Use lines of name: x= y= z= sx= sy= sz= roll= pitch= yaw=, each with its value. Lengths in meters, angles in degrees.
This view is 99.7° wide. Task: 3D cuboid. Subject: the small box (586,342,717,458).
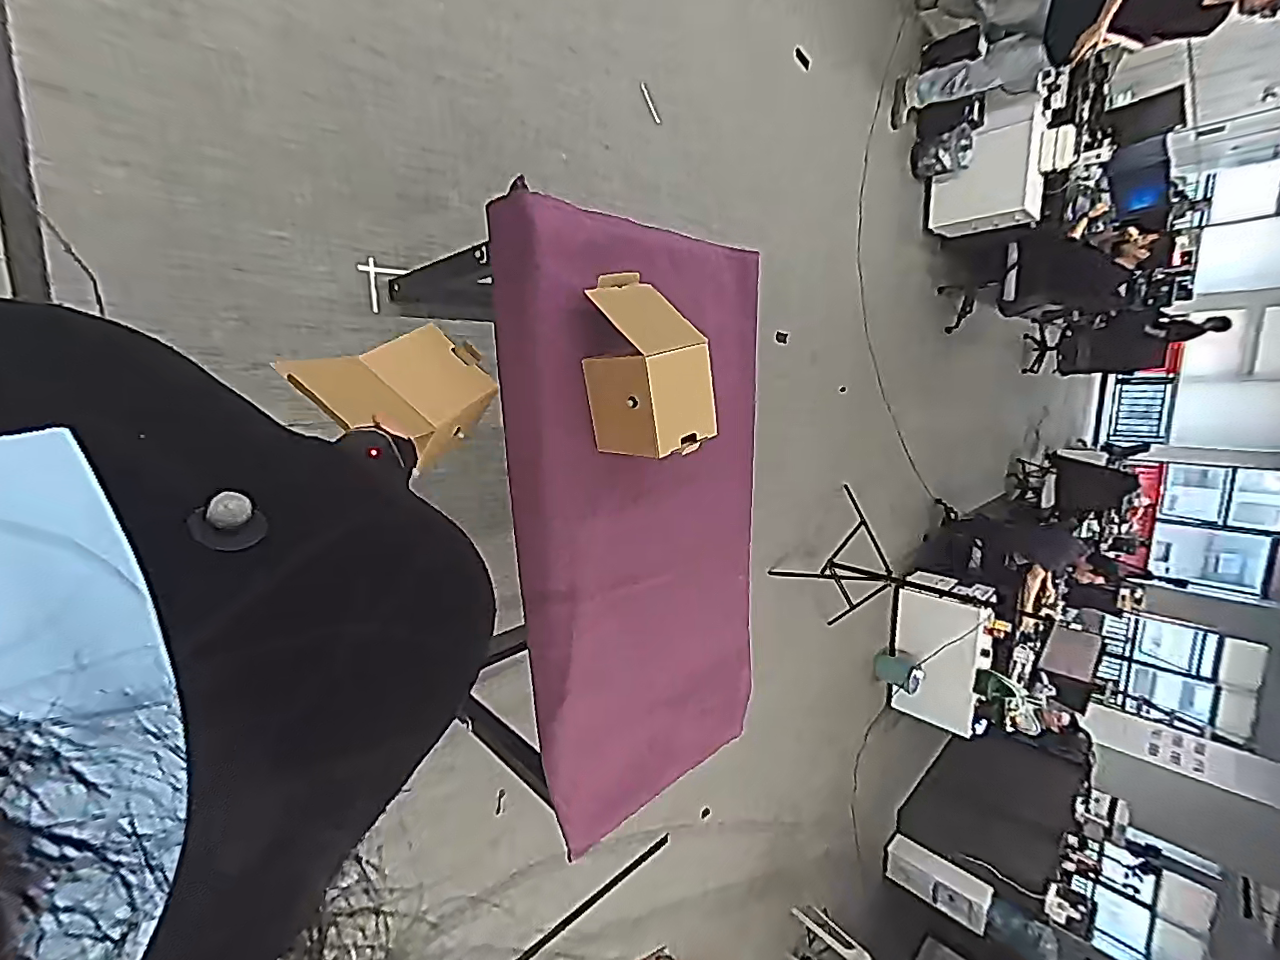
small box: x=0.019 y=-0.149 z=0.992 sx=0.168 sy=0.176 sz=0.179 roll=-23 pitch=113 yaw=-39
